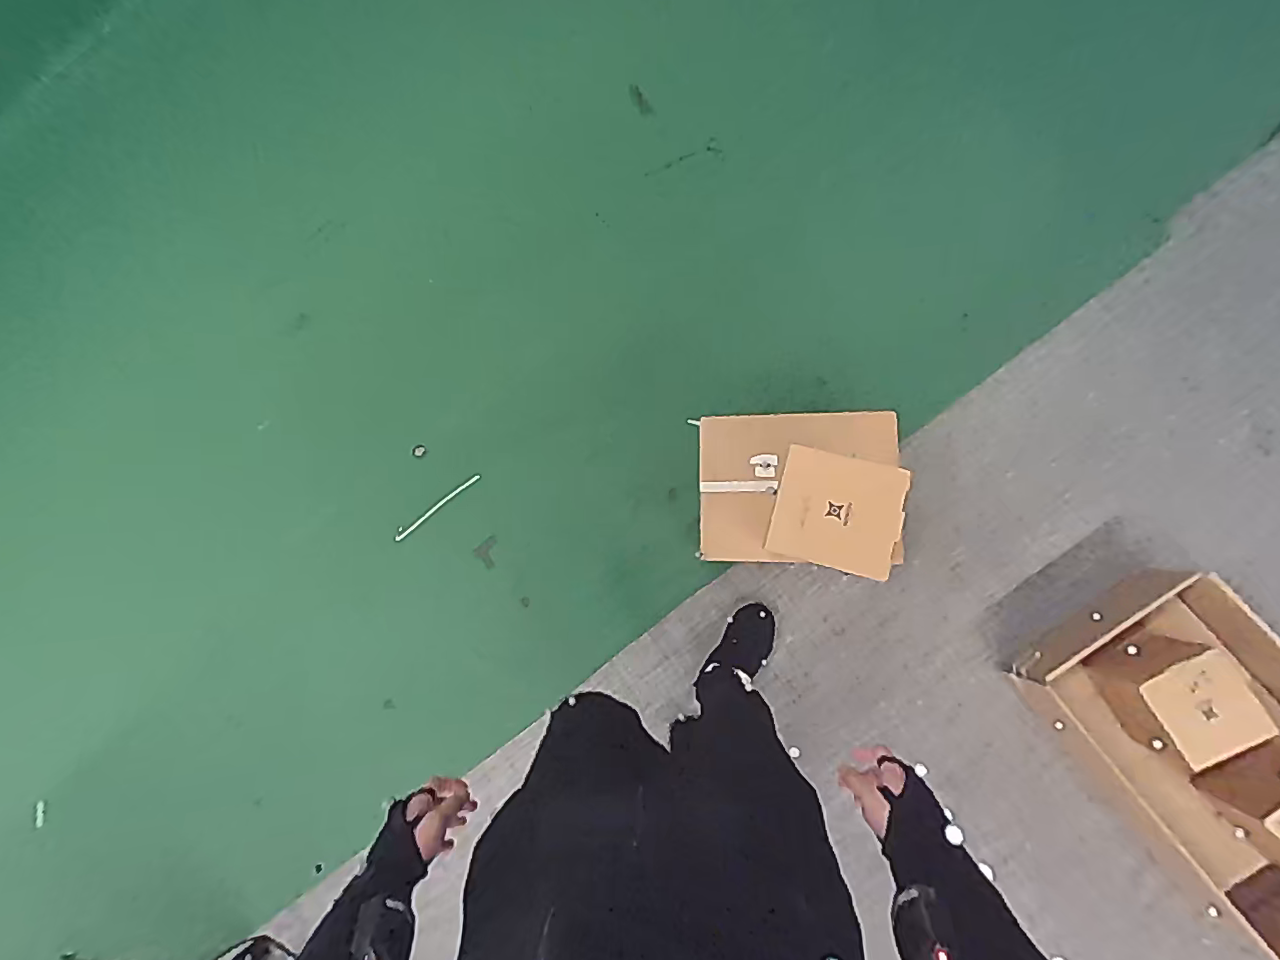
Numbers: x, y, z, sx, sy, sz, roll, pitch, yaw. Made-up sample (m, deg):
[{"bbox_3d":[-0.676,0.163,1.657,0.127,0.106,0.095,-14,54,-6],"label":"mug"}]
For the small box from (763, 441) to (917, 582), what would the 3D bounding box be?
[{"bbox_3d":[0.299,0.049,0.842,0.179,0.176,0.168,15,87,13],"label":"small box"}]

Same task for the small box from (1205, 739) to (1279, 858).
[{"bbox_3d":[1.248,0.624,1.006,0.168,0.176,0.179,-42,77,3],"label":"small box"}]

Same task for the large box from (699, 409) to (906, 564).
[{"bbox_3d":[0.354,0.032,1.251,0.408,0.320,0.320,-1,81,12],"label":"large box"}]
